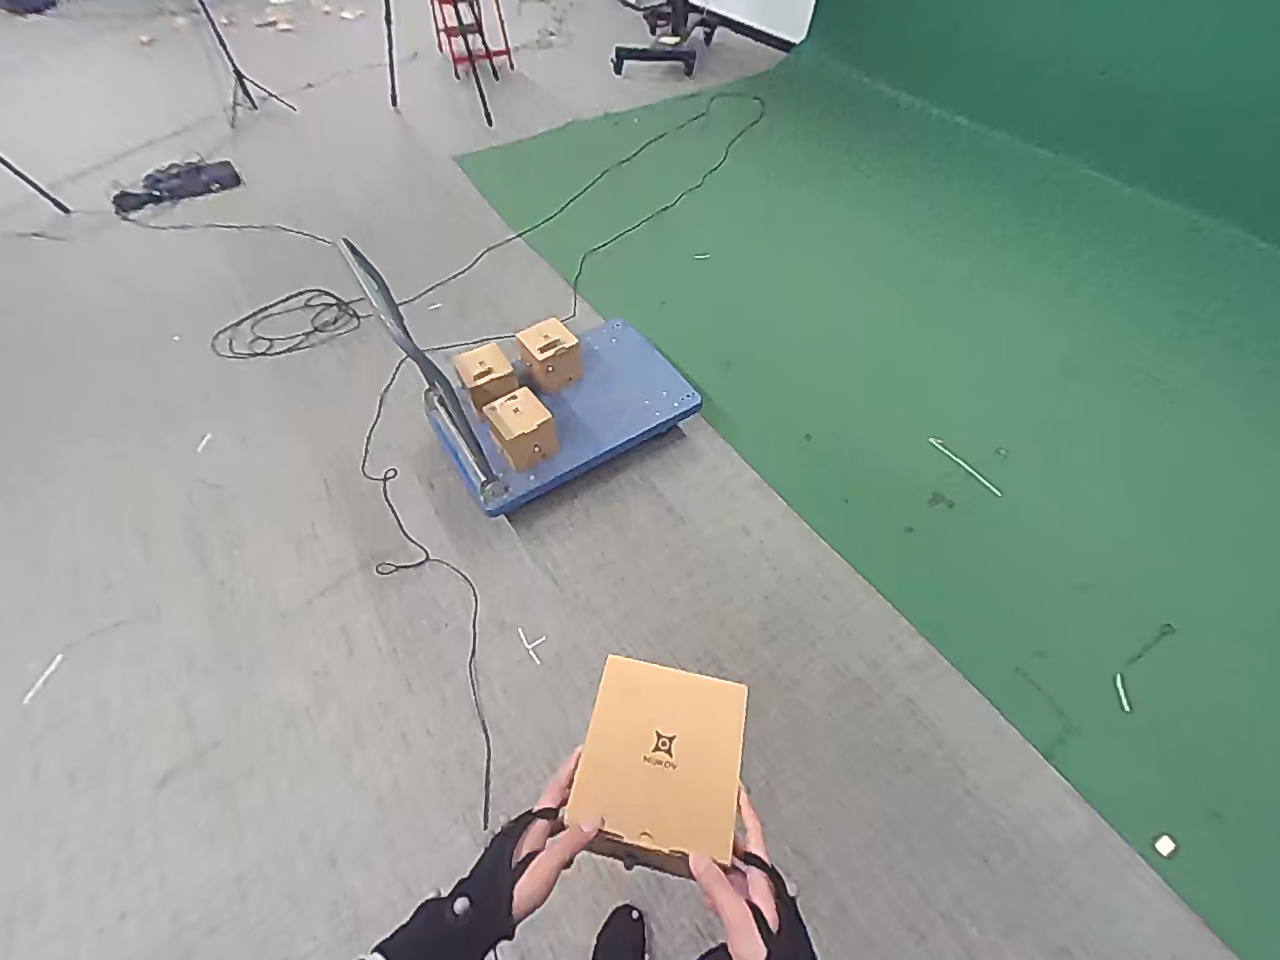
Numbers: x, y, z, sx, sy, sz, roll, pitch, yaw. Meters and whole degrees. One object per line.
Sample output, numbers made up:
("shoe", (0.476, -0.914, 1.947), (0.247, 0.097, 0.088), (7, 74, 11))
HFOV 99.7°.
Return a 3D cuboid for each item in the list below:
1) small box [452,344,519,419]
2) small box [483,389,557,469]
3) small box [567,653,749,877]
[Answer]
("small box", (-0.531, -0.336, 1.893), (0.168, 0.176, 0.179), (-26, 58, -18))
("small box", (-0.385, -0.159, 1.766), (0.168, 0.176, 0.179), (-30, 60, -20))
("small box", (0.022, 0.332, 0.627), (0.168, 0.176, 0.179), (11, 51, 7))
